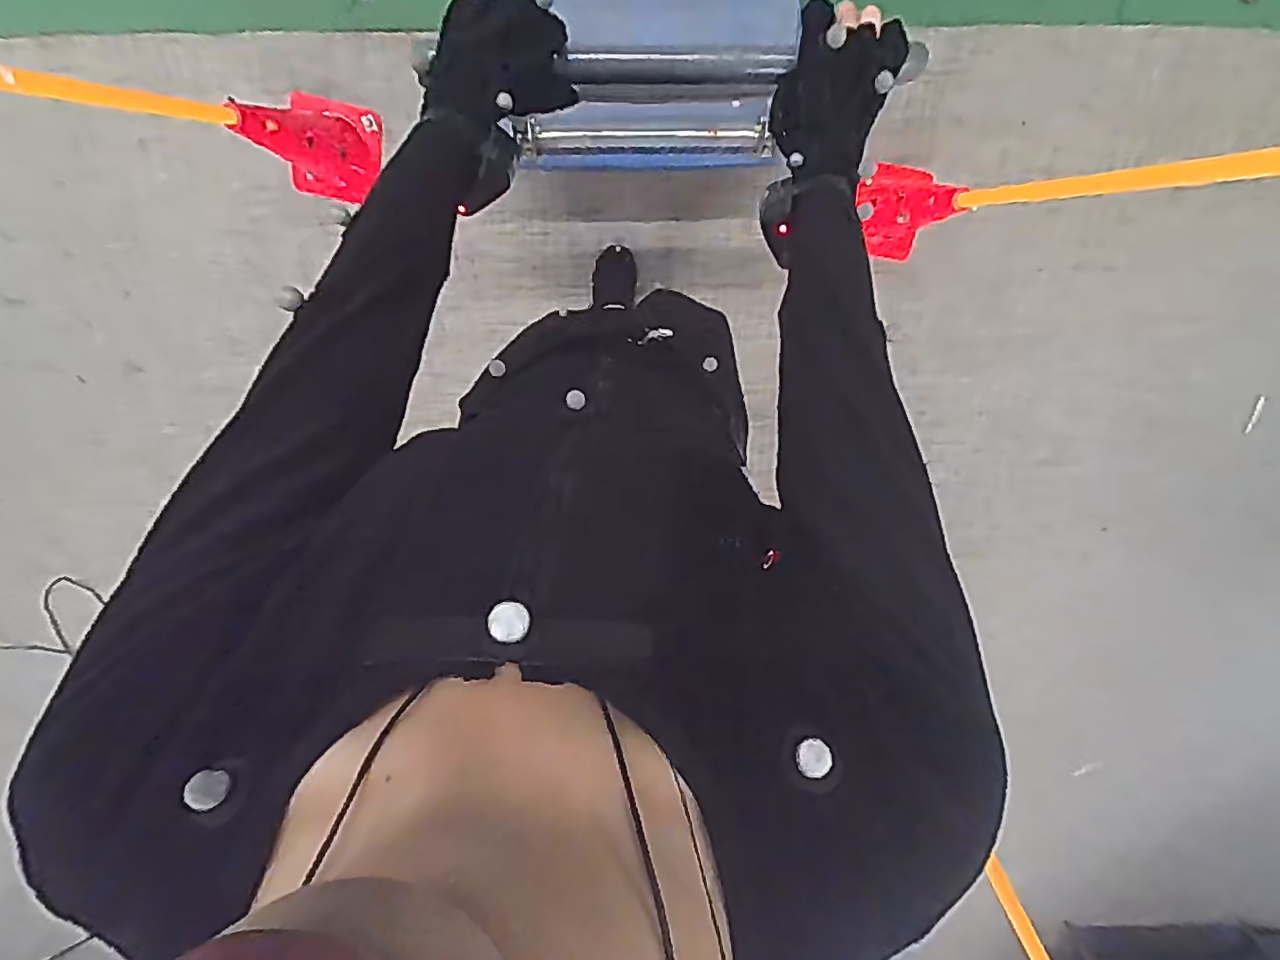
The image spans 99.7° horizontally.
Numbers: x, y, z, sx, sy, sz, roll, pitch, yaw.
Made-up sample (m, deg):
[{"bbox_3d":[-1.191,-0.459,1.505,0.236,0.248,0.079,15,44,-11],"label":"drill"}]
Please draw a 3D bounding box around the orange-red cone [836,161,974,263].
[{"bbox_3d":[0.590,-0.574,1.143,0.198,0.360,0.199,10,113,-4],"label":"orange-red cone"}]
